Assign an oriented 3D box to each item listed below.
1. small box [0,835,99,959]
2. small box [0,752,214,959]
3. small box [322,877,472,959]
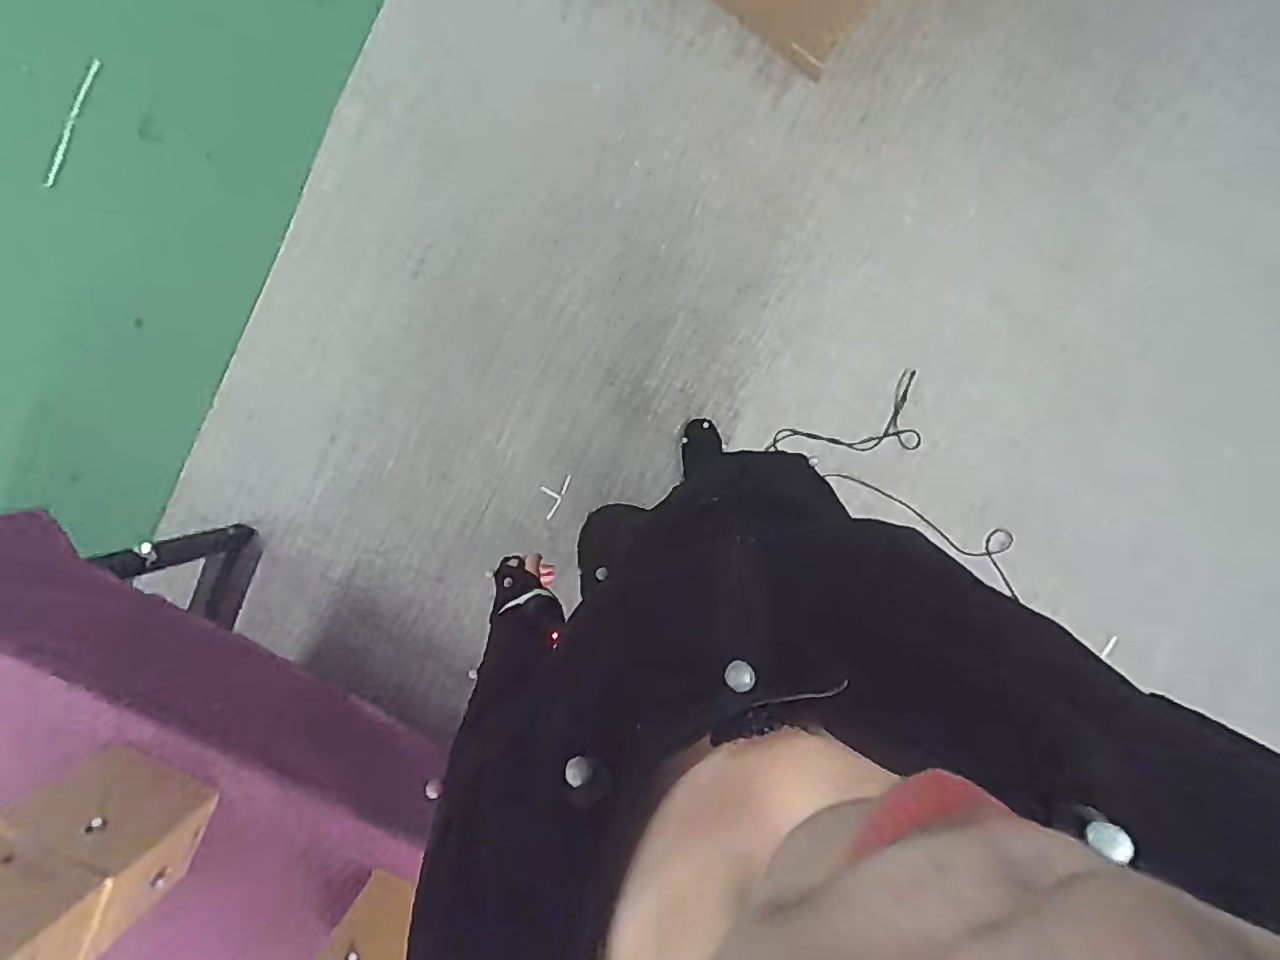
[{"bbox_3d":[-0.771,0.546,0.598,0.168,0.176,0.179,25,97,0],"label":"small box"},{"bbox_3d":[-0.760,0.524,0.759,0.179,0.176,0.168,27,96,-1],"label":"small box"},{"bbox_3d":[-0.365,0.718,0.764,0.179,0.176,0.168,25,97,1],"label":"small box"}]
